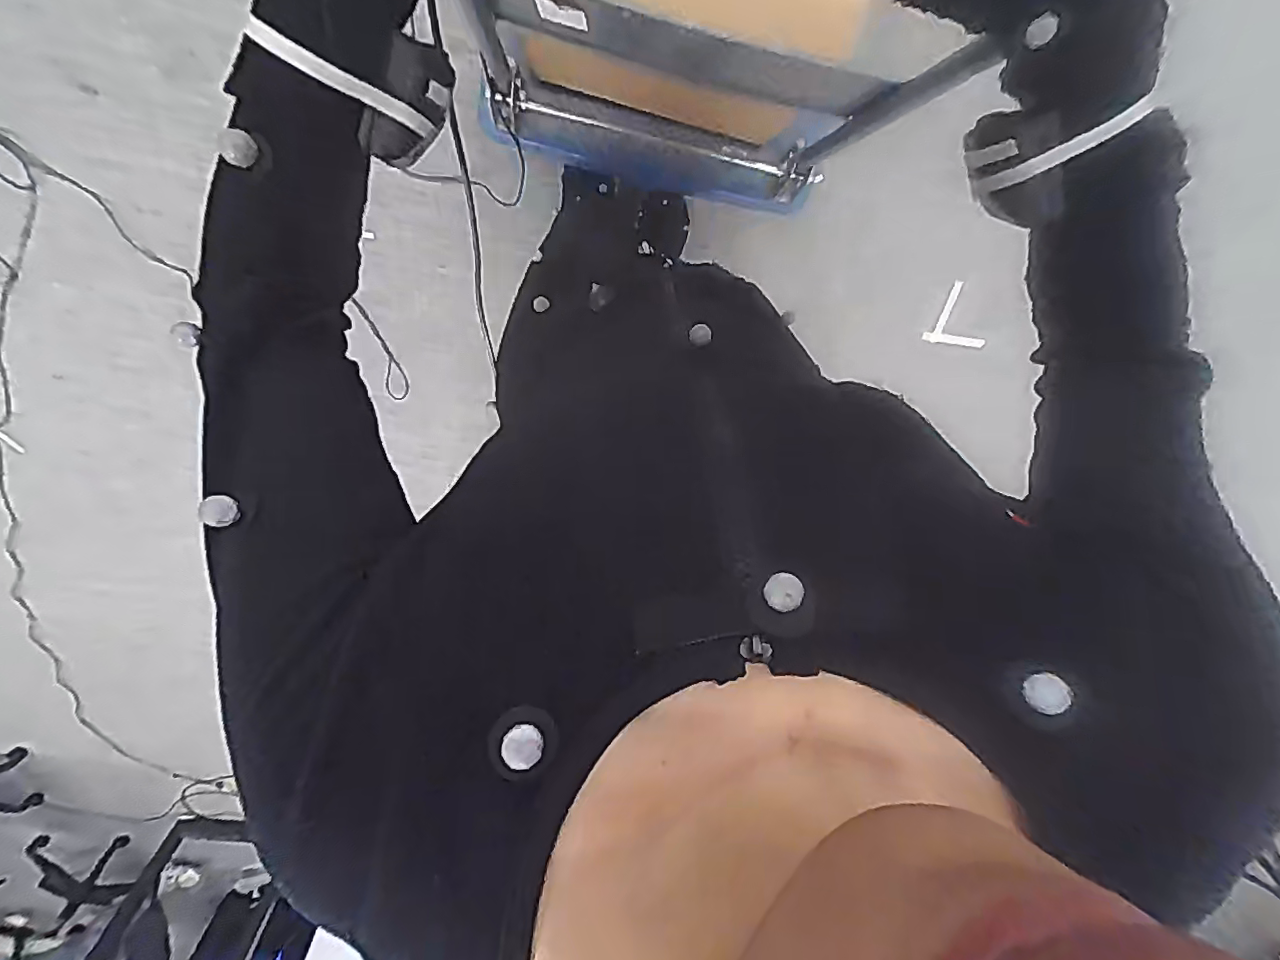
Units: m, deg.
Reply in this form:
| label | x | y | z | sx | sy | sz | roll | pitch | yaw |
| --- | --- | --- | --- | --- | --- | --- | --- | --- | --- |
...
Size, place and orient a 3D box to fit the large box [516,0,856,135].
| label | x | y | z | sx | sy | sz | roll | pitch | yaw |
| --- | --- | --- | --- | --- | --- | --- | --- | --- | --- |
| large box | 0.060 | -0.717 | 0.715 | 0.408 | 0.320 | 0.320 | 10 | 108 | -10 |
